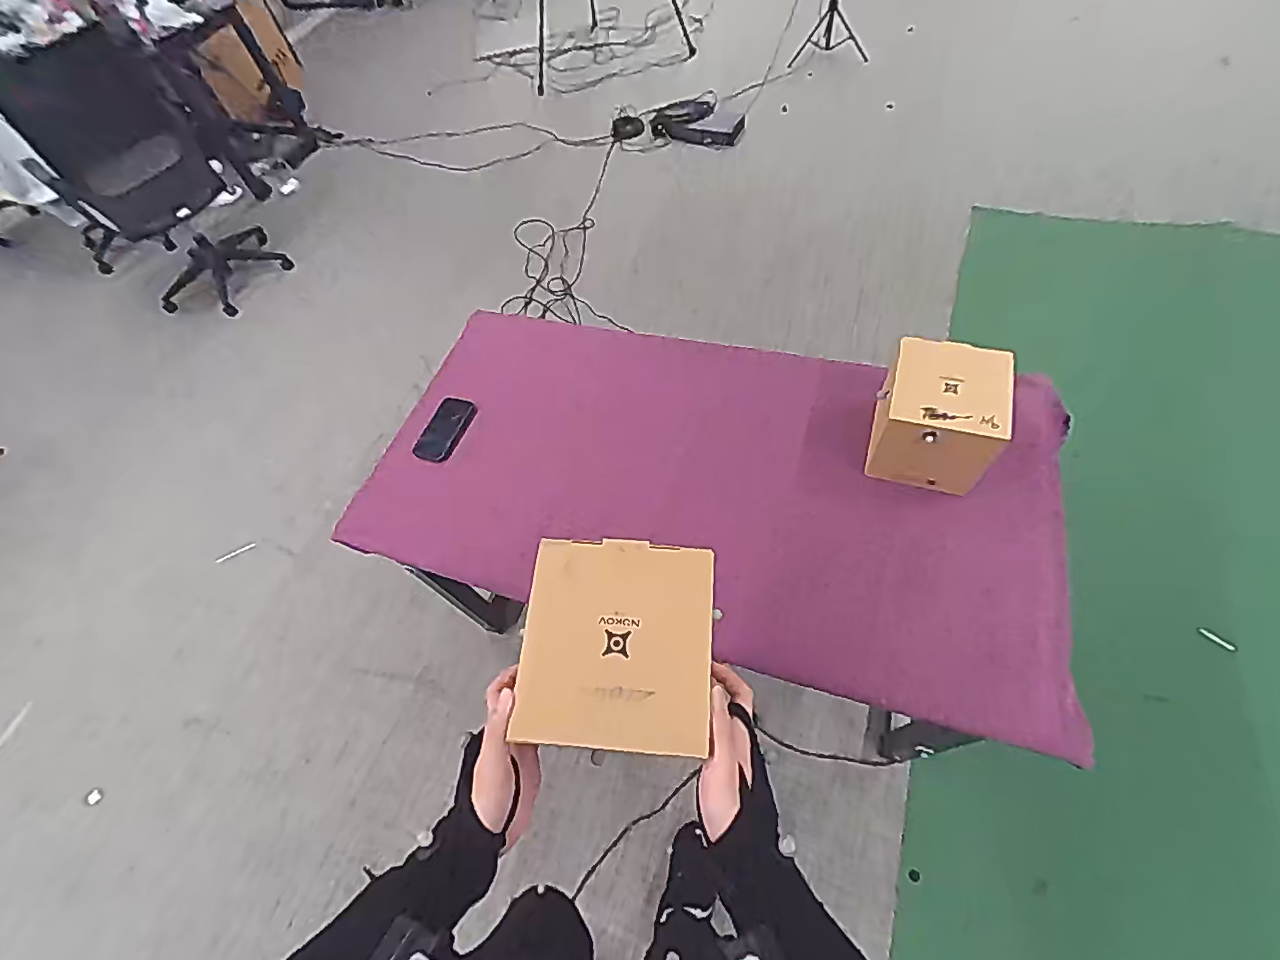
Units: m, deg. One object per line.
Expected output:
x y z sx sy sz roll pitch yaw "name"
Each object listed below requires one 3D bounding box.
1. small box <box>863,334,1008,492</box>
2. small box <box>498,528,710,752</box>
0.476 -0.108 0.887 0.168 0.176 0.179 13 61 17 "small box"
-0.023 0.163 0.534 0.168 0.176 0.179 4 65 4 "small box"
